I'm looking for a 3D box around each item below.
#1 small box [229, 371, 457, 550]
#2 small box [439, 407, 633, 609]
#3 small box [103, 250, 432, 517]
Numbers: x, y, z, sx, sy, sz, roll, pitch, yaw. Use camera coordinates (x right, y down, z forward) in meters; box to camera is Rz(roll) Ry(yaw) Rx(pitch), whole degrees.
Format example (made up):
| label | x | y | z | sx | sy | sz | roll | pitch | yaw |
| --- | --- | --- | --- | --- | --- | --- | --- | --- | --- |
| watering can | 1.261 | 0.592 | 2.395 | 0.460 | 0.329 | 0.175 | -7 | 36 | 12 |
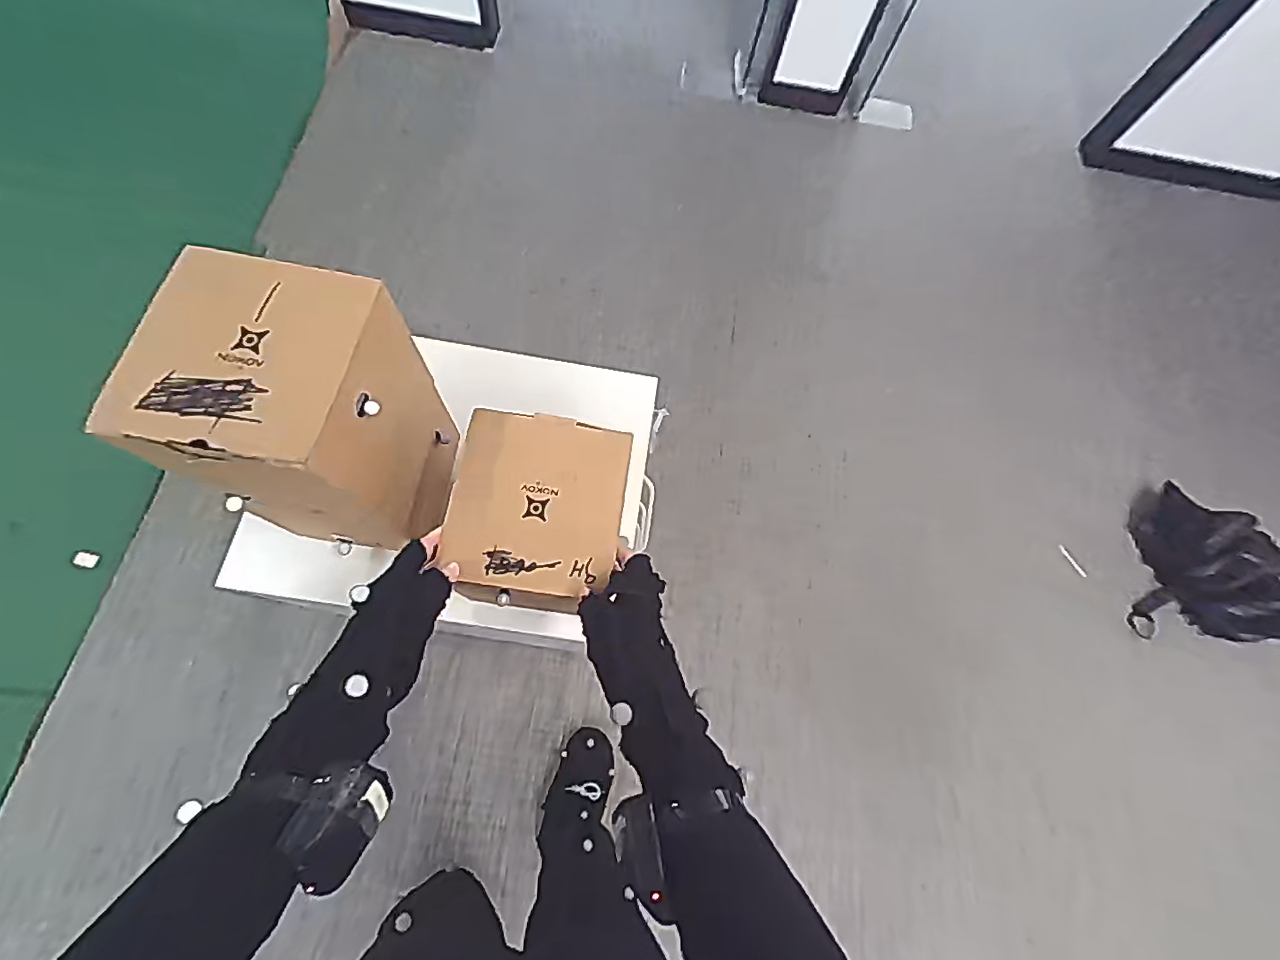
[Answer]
| label | x | y | z | sx | sy | sz | roll | pitch | yaw |
| --- | --- | --- | --- | --- | --- | --- | --- | --- | --- |
| small box | -0.331 | -0.026 | 0.649 | 0.168 | 0.176 | 0.179 | 7 | 71 | -2 |
| small box | -0.107 | 0.042 | 0.613 | 0.168 | 0.176 | 0.179 | 9 | 71 | -3 |
| small box | -0.317 | -0.077 | 0.511 | 0.168 | 0.176 | 0.179 | 10 | 68 | -1 |
